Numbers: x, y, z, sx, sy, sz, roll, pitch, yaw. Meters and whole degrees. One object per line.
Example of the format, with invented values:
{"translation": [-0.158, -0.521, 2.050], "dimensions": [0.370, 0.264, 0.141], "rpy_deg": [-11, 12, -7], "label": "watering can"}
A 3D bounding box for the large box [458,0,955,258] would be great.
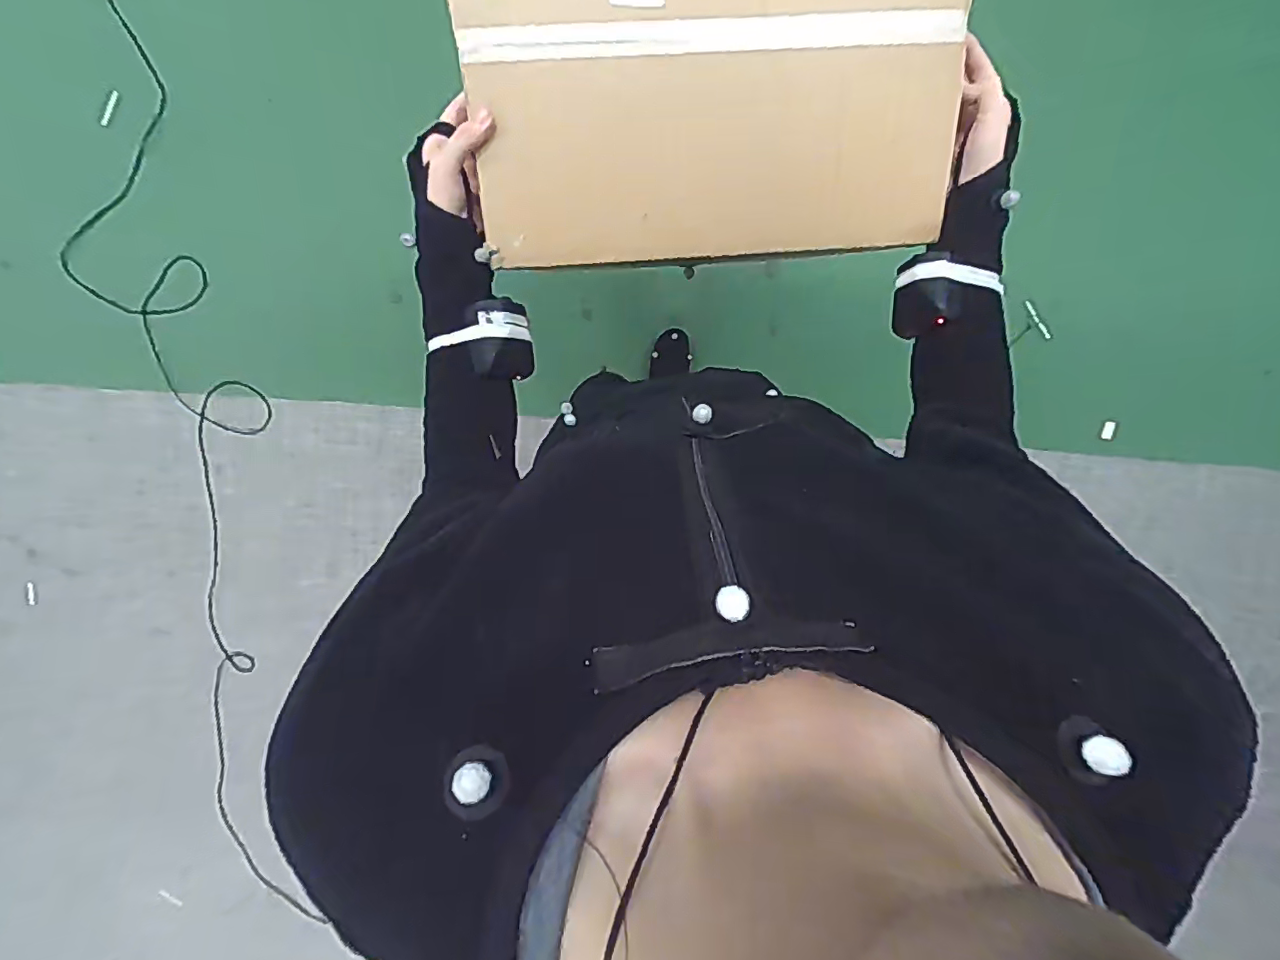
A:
{"translation": [0.050, -0.415, 0.572], "dimensions": [0.408, 0.320, 0.320], "rpy_deg": [-5, 111, -2], "label": "large box"}
